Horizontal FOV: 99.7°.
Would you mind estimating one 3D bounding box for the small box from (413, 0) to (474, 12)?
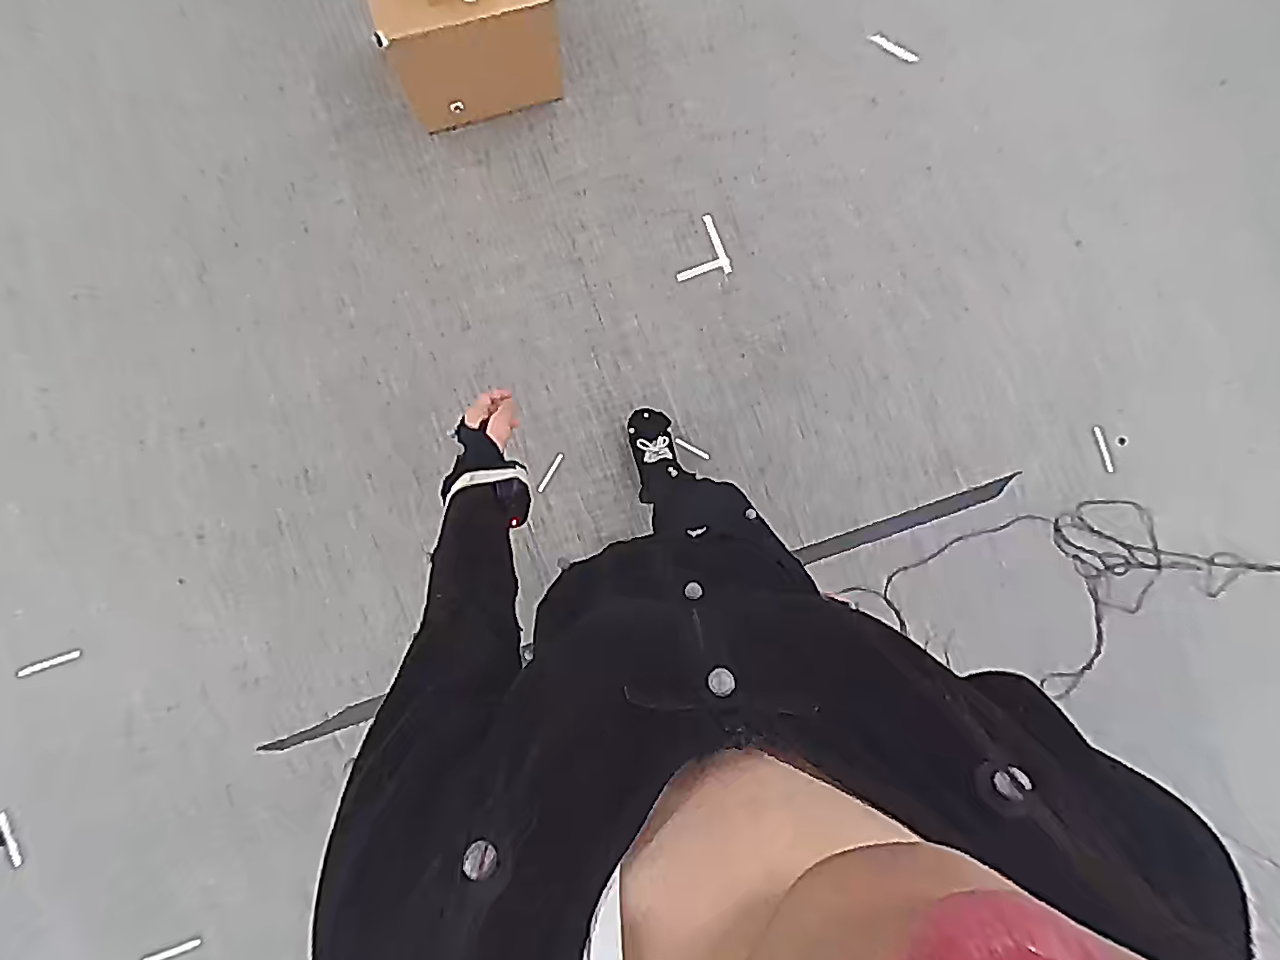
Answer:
[{"bbox_3d":[-0.432,-1.136,1.126,0.179,0.176,0.168,-21,91,-5],"label":"small box"}]
